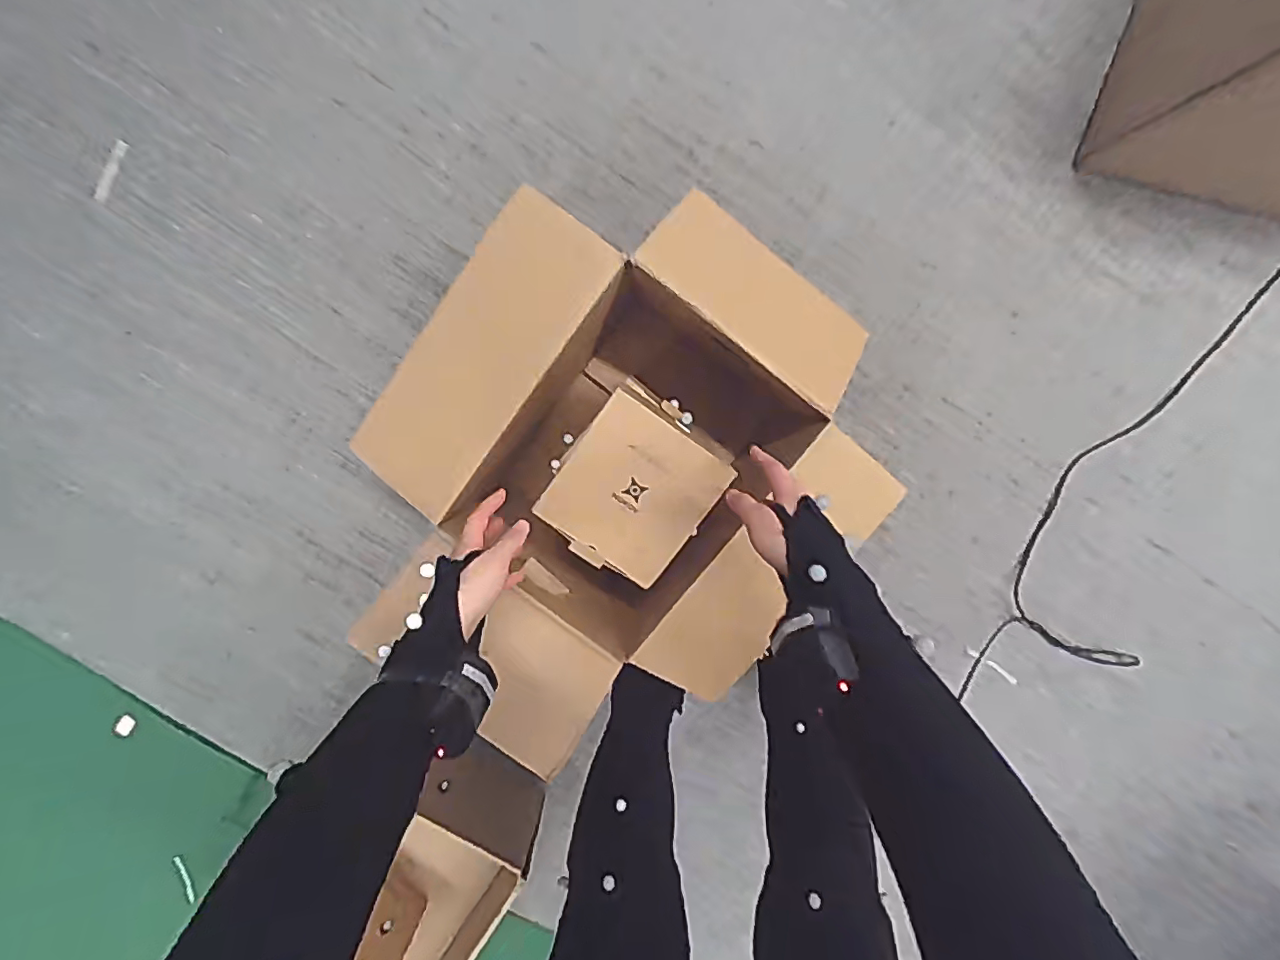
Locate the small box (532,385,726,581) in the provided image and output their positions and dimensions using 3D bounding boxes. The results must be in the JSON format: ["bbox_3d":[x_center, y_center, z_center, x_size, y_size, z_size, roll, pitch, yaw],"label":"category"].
[{"bbox_3d":[-0.011,-0.007,0.703,0.168,0.176,0.179,34,100,-6],"label":"small box"}]
